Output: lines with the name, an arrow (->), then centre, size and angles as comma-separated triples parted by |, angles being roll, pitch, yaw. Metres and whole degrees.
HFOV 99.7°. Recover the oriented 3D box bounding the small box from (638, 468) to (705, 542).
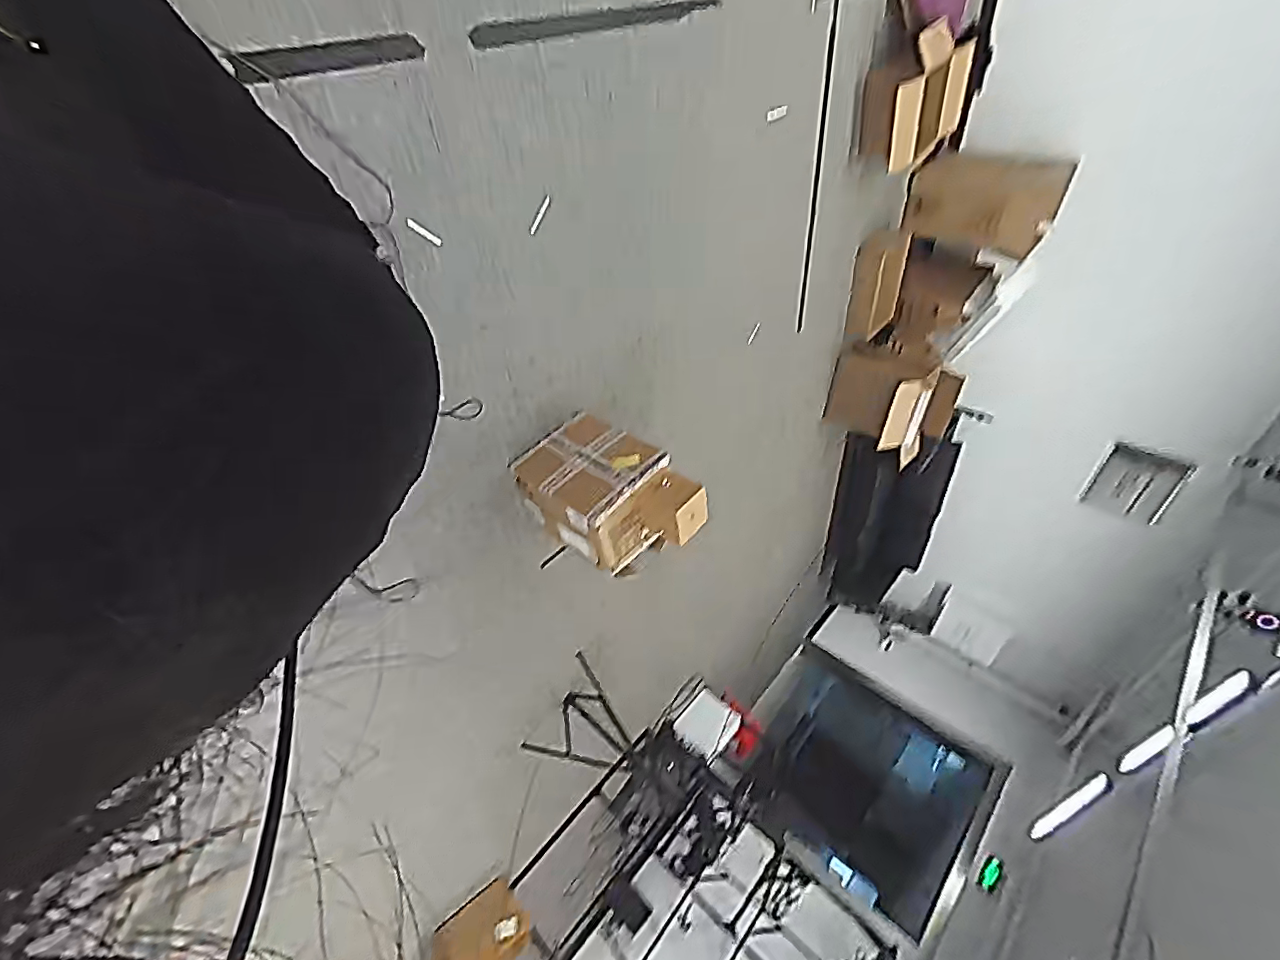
small box -> 0.114, 0.085, 1.955 | 0.168, 0.176, 0.179 | -41, 138, -30
